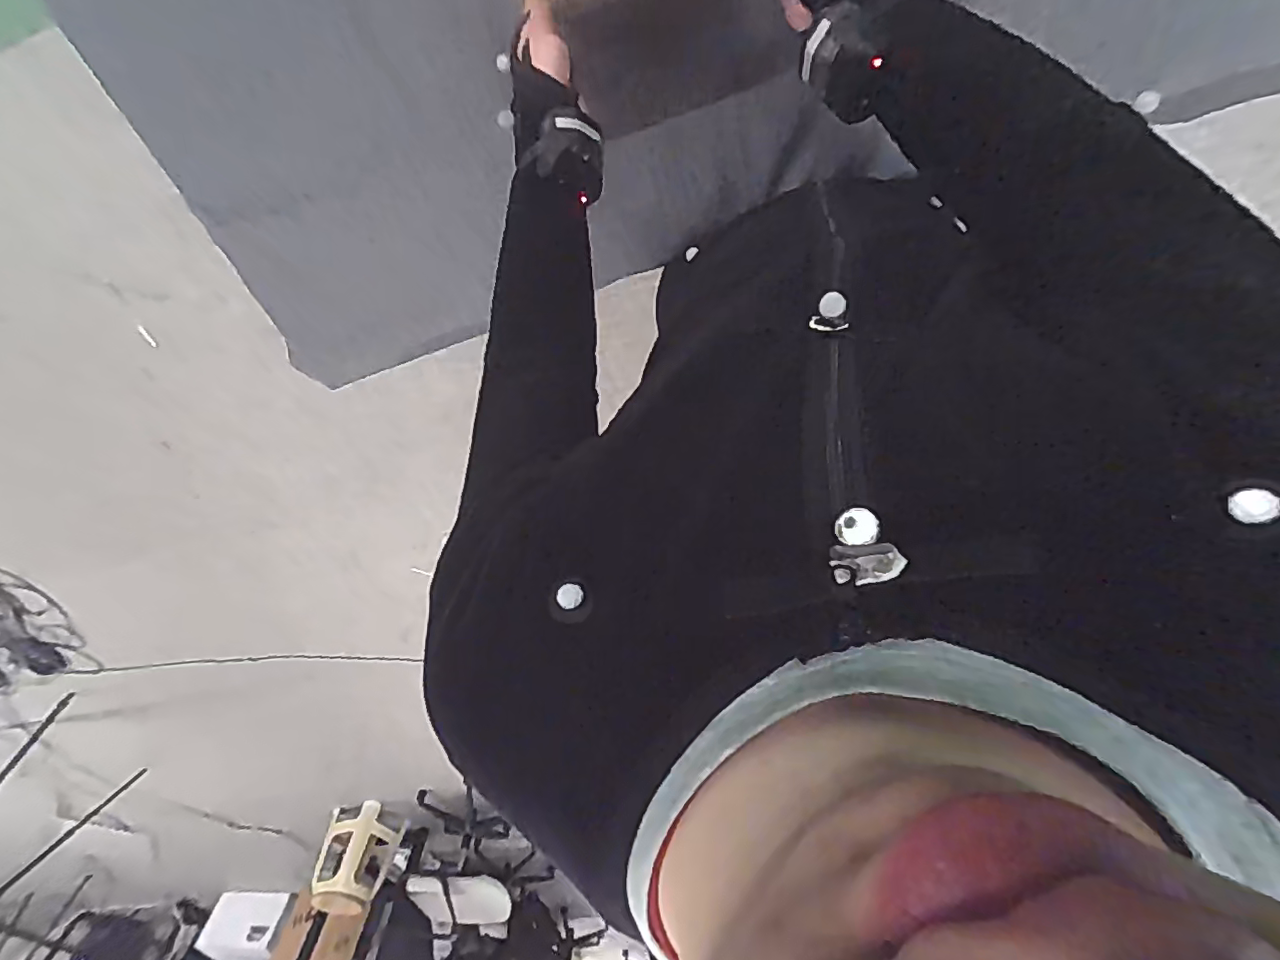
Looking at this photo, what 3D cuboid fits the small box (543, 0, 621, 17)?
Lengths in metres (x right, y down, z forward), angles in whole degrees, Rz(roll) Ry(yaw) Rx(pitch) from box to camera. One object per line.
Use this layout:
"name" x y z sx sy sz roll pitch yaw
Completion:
"small box" -0.020 -0.504 0.427 0.179 0.176 0.168 -15 125 12

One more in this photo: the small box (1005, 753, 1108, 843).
"small box" 1.184 0.911 1.552 0.179 0.176 0.168 -14 124 12
